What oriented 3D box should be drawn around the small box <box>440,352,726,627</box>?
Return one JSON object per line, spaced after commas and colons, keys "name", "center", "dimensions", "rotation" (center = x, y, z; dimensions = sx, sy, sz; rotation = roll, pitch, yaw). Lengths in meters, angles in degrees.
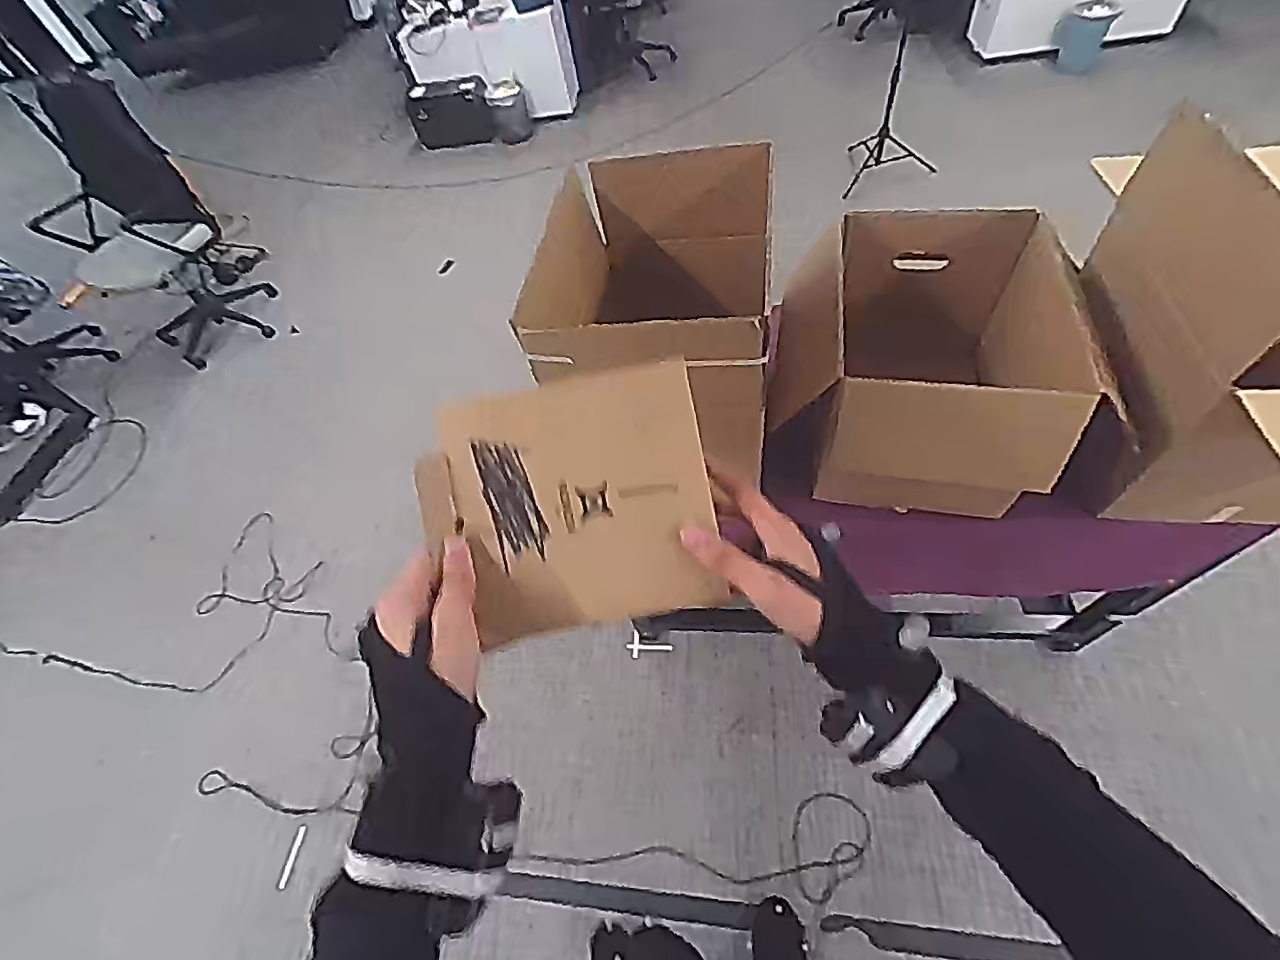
{"name": "small box", "center": [-0.037, 0.007, 0.447], "dimensions": [0.179, 0.176, 0.168], "rotation": [-11, 90, 1]}
